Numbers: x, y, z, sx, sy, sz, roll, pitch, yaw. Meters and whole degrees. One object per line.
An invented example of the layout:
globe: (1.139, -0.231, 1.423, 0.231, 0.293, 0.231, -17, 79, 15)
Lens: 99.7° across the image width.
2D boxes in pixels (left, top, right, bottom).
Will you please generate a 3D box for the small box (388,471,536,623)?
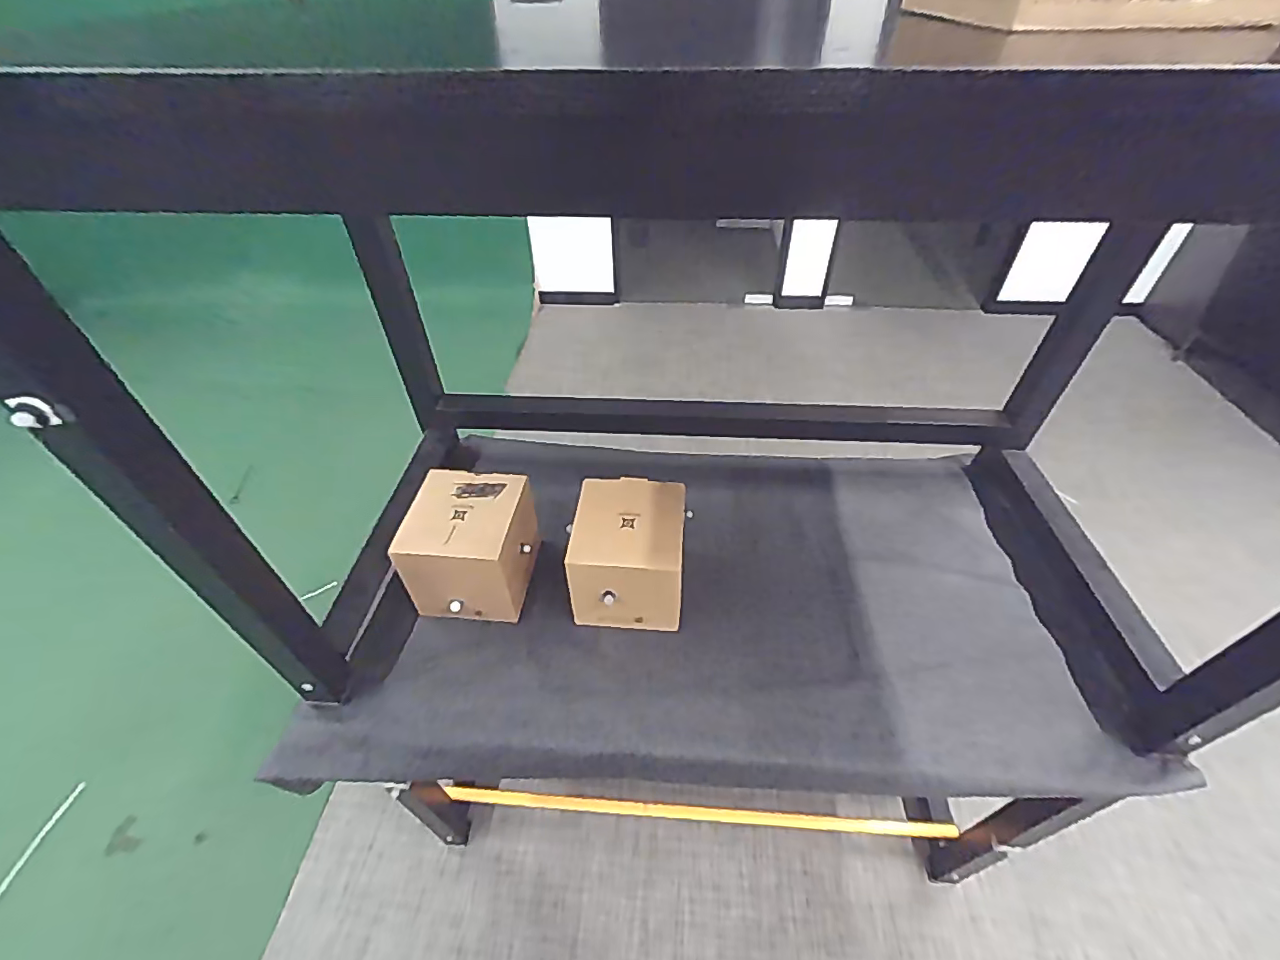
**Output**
small box: (-0.274, 0.108, 0.882, 0.168, 0.176, 0.179, 3, 45, 4)

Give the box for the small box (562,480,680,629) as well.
small box: (-0.021, 0.121, 0.869, 0.168, 0.176, 0.179, 3, 44, 4)
